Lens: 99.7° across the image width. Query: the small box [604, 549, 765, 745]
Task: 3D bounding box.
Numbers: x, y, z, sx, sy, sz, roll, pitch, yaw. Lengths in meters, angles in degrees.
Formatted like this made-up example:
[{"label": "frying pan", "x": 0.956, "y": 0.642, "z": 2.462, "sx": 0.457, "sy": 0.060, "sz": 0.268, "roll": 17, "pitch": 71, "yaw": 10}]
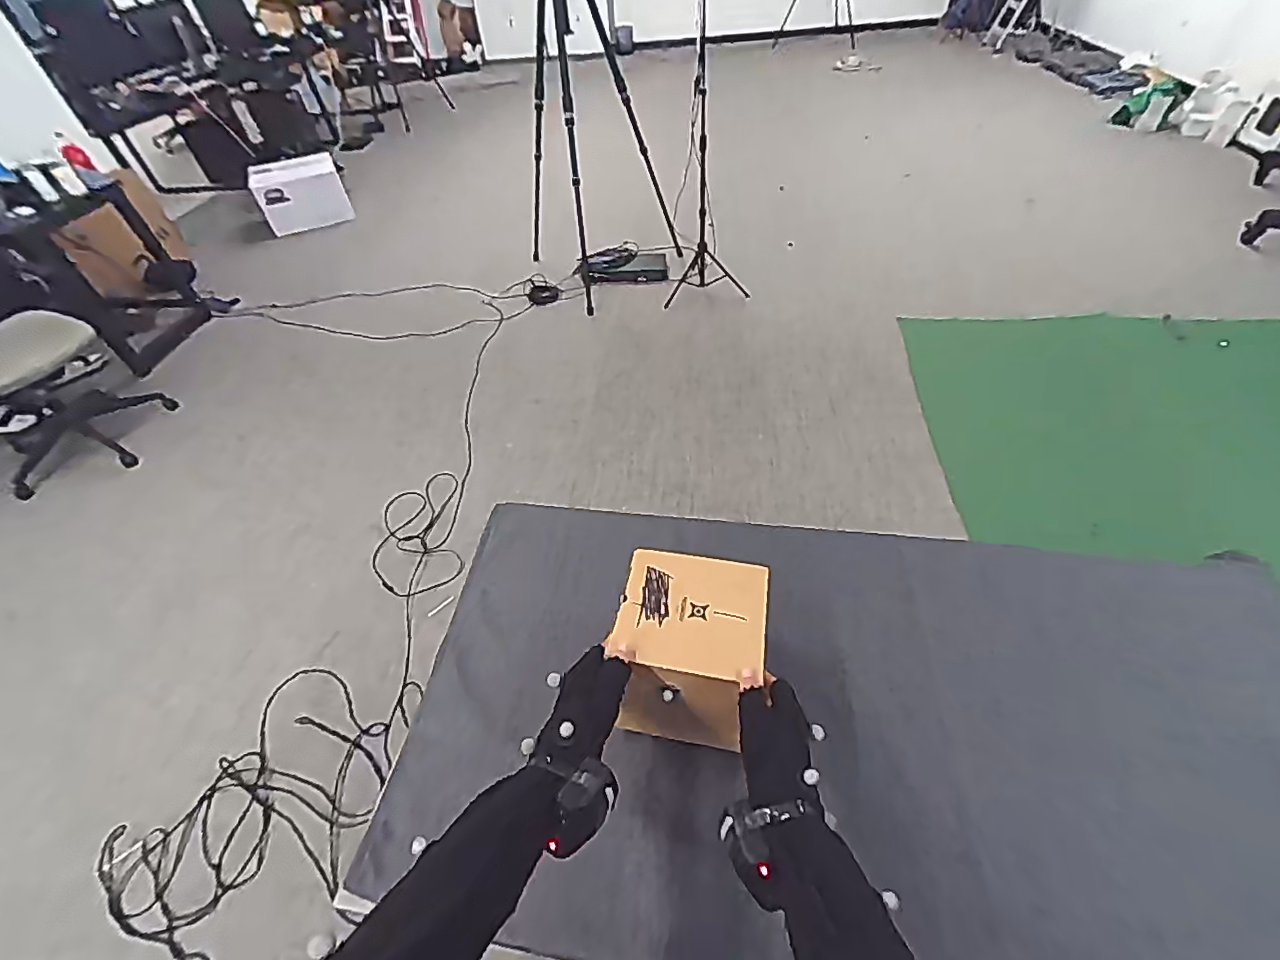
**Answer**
[{"label": "small box", "x": 0.061, "y": 0.215, "z": 0.701, "sx": 0.179, "sy": 0.176, "sz": 0.168, "roll": 8, "pitch": 40, "yaw": 9}]
